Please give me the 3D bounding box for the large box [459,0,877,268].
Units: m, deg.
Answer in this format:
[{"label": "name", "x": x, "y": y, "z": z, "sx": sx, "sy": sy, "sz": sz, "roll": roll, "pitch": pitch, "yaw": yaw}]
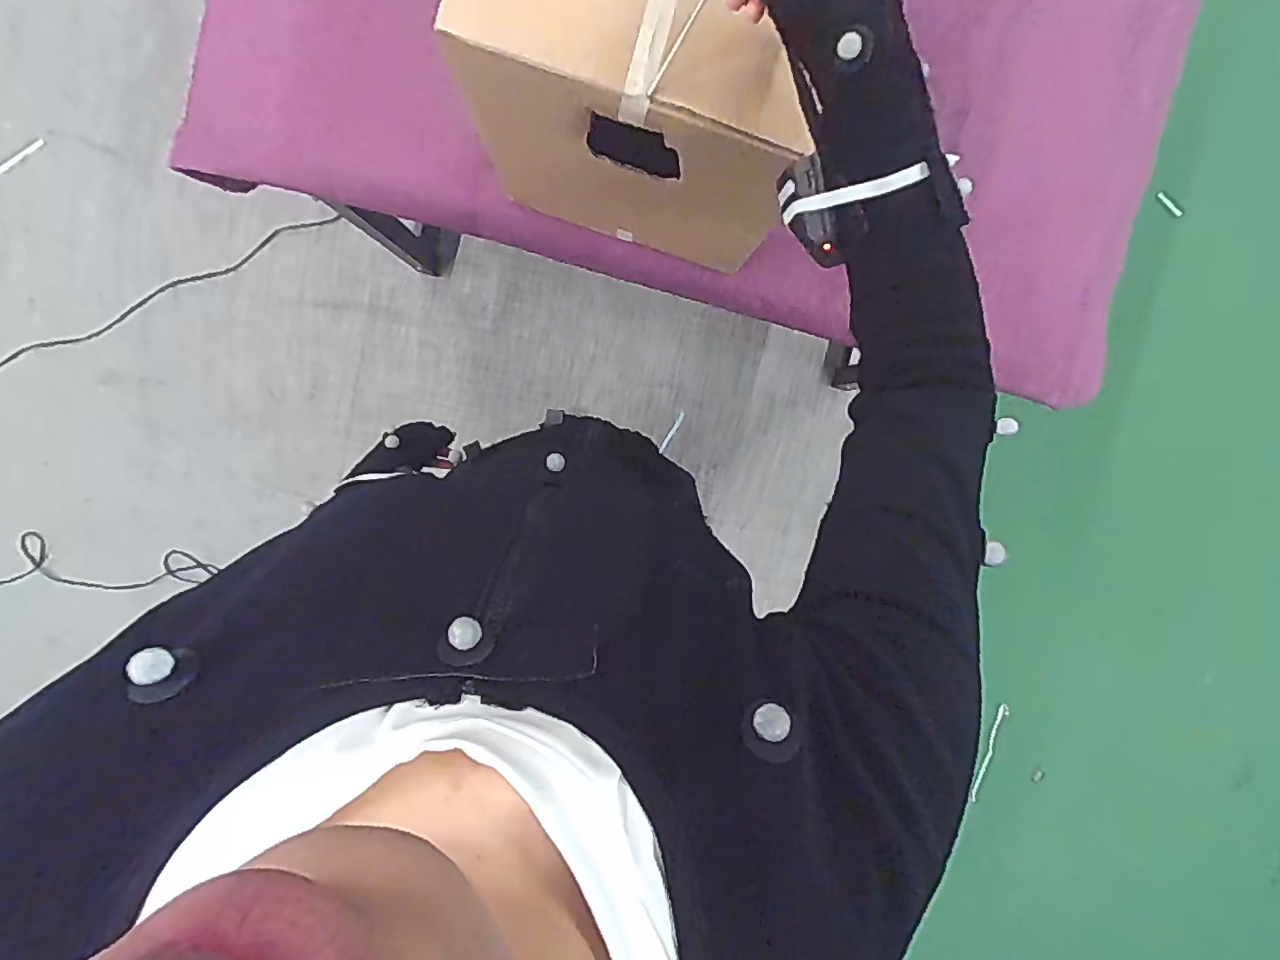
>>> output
[{"label": "large box", "x": 0.049, "y": -0.500, "z": 0.558, "sx": 0.320, "sy": 0.320, "sz": 0.408, "roll": 17, "pitch": 96, "yaw": -5}]
